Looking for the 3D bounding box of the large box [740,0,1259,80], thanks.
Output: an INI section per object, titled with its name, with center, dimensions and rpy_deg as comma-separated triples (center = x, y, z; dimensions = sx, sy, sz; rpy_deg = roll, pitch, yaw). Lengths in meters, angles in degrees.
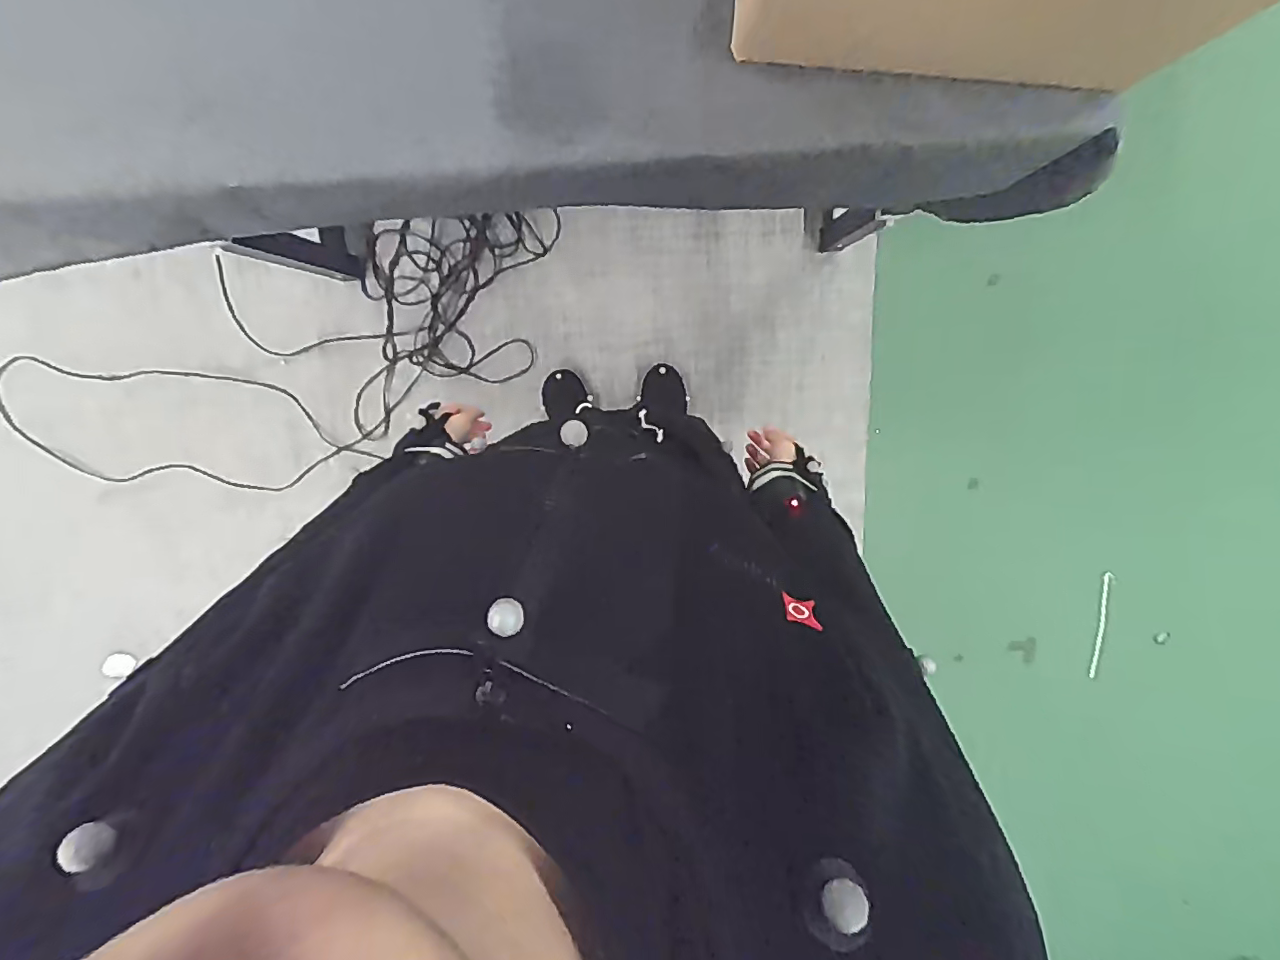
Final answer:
[large box]
center = 0.302, -0.527, 0.367
dimensions = 0.408, 0.320, 0.320
rpy_deg = 3, 103, -2
